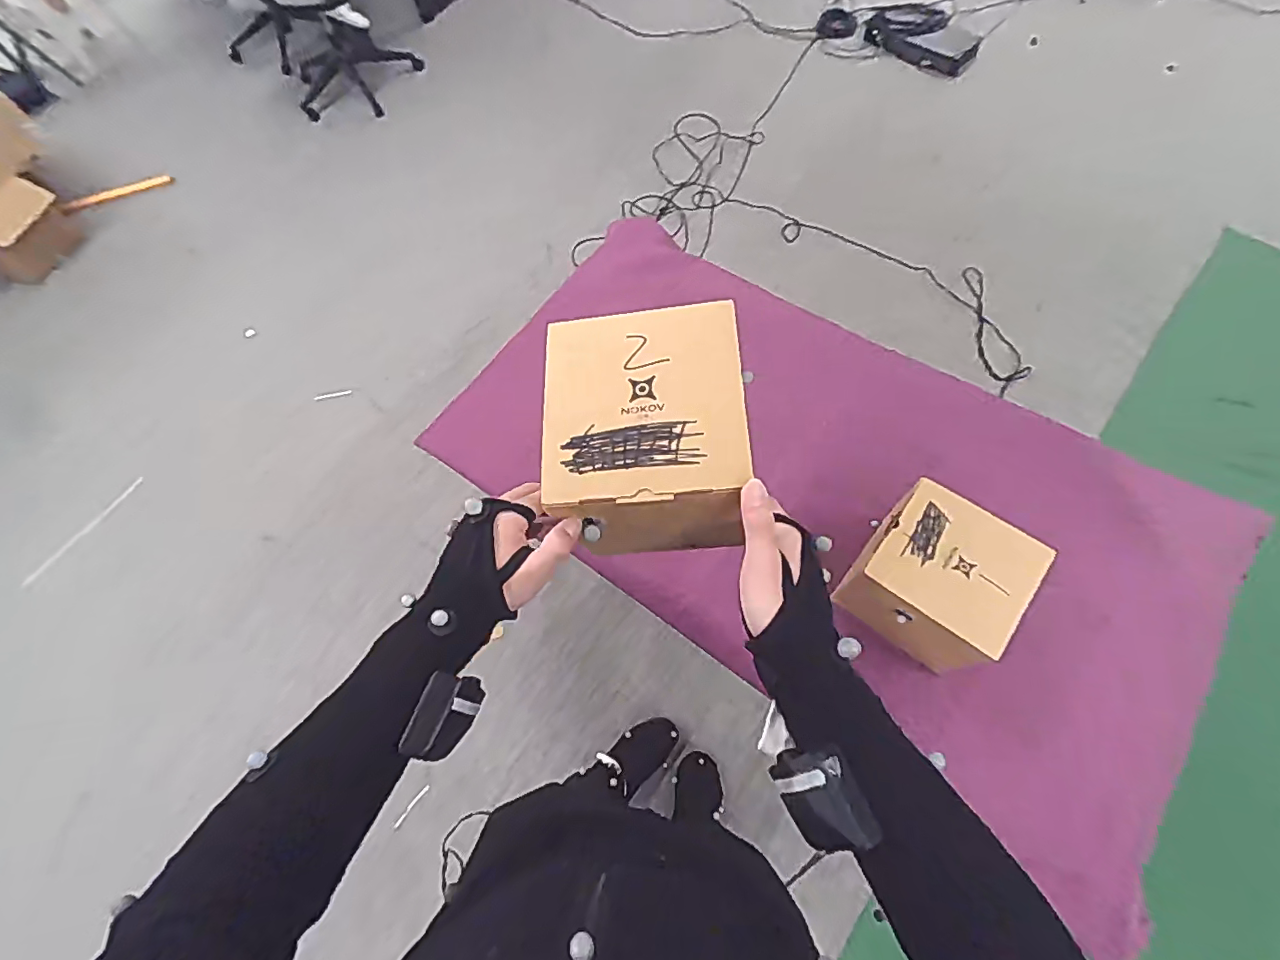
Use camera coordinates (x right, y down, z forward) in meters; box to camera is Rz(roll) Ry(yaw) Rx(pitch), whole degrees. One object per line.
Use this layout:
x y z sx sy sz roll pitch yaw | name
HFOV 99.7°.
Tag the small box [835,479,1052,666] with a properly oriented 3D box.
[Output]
0.398 0.136 0.743 0.179 0.176 0.168 35 74 18 | small box
